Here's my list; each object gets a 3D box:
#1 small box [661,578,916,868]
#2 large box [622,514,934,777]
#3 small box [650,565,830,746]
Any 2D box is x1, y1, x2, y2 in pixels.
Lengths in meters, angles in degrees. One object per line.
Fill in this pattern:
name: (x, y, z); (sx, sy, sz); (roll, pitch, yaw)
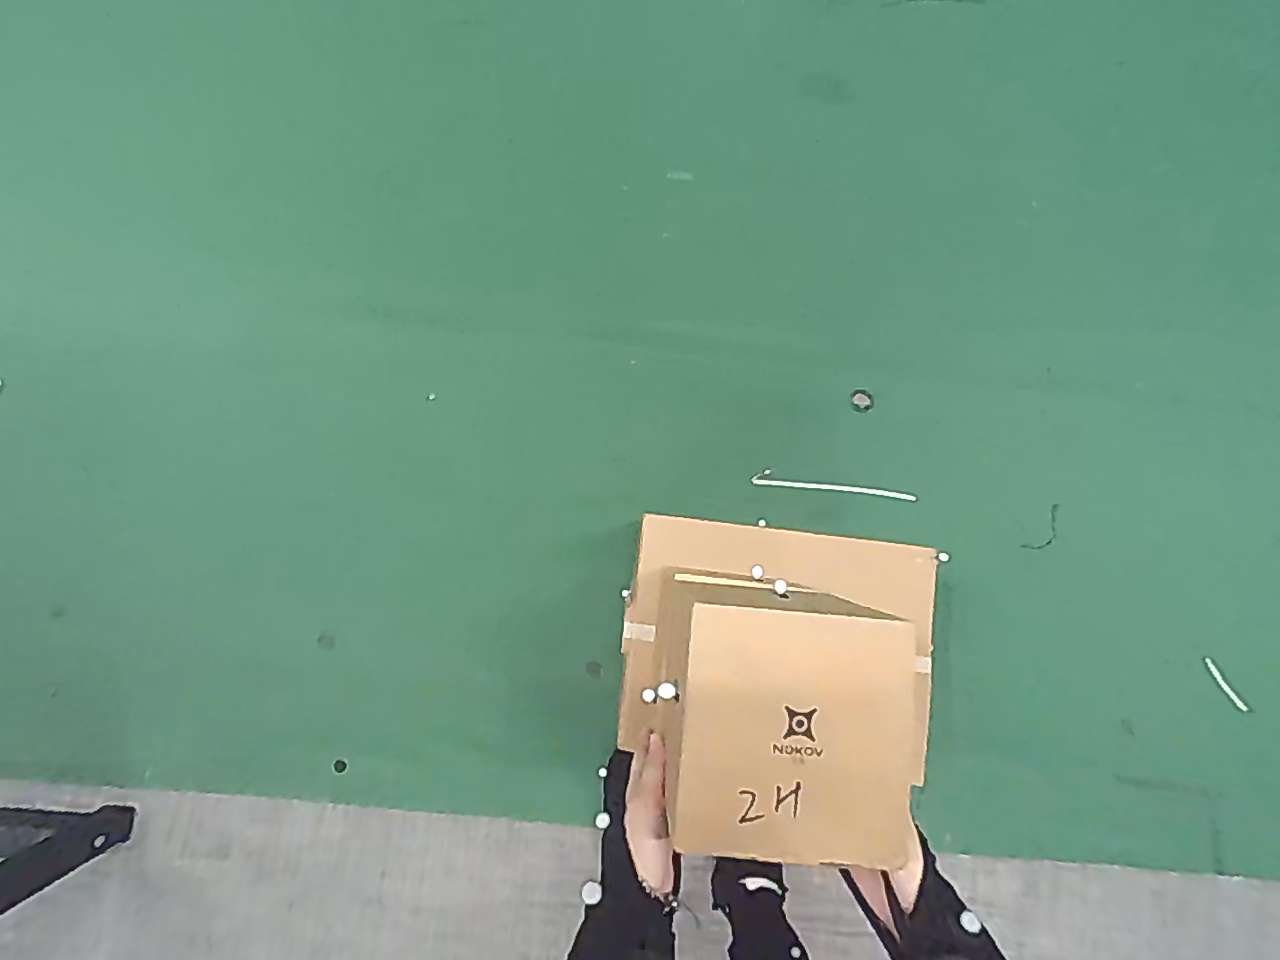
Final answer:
small box: (0.107, 0.181, 0.456); (0.168, 0.176, 0.179); (5, 85, 0)
large box: (0.182, 0.231, 0.861); (0.408, 0.320, 0.320); (6, 85, -1)
small box: (0.102, 0.194, 0.620); (0.168, 0.176, 0.179); (6, 84, 0)
